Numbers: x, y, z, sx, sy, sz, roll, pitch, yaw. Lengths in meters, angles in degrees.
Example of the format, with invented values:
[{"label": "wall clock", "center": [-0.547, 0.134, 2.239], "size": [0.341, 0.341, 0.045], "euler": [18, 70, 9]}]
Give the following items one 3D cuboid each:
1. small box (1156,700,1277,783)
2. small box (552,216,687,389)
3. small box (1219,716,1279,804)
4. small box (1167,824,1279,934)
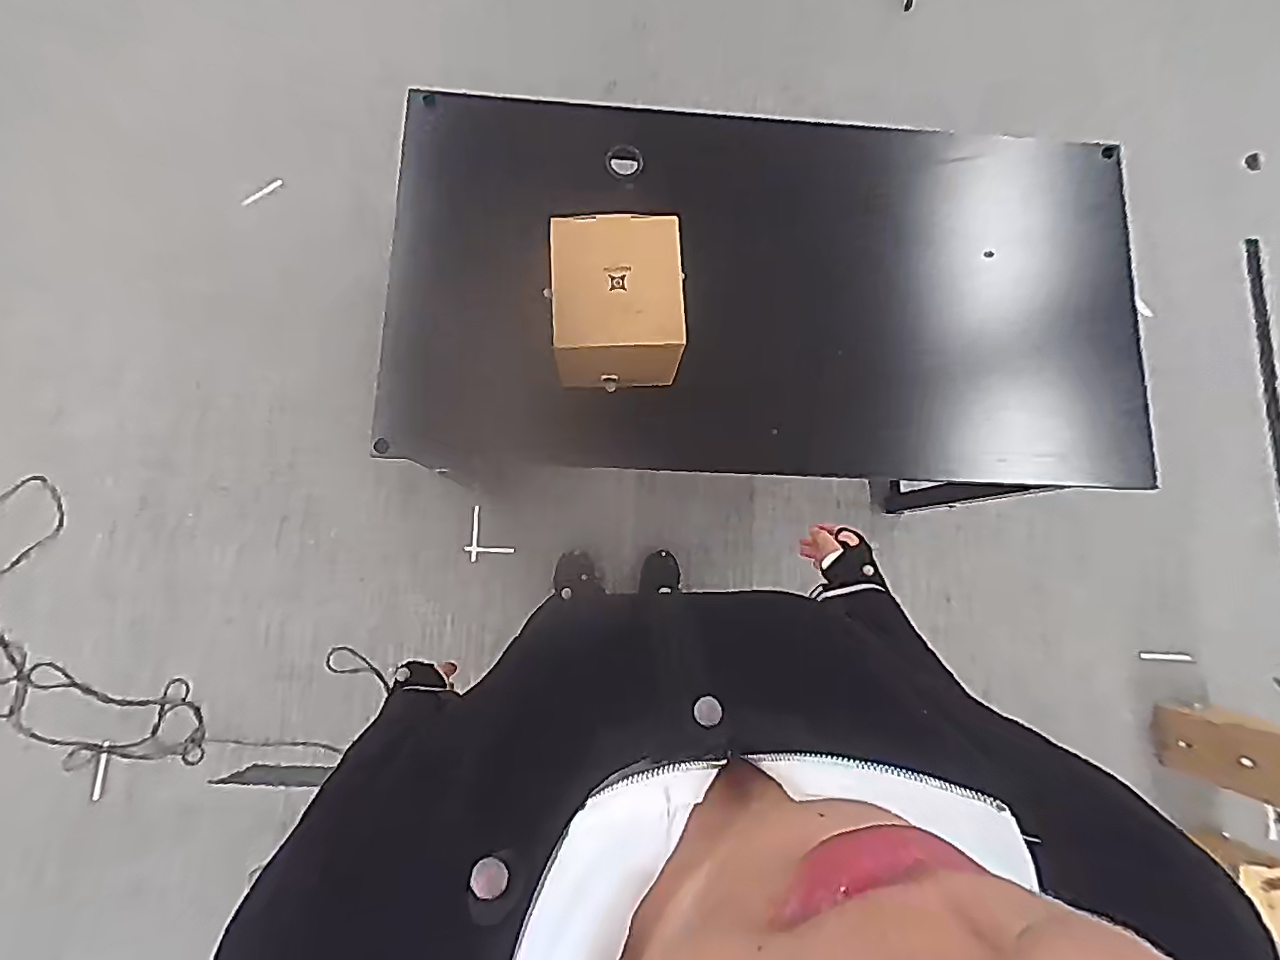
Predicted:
[{"label": "small box", "center": [1.544, 0.699, 1.454], "size": [0.179, 0.176, 0.168], "euler": [2, 82, -2]}, {"label": "small box", "center": [-0.031, -0.239, 0.757], "size": [0.168, 0.176, 0.179], "euler": [-3, 83, -3]}, {"label": "small box", "center": [1.556, 0.678, 1.290], "size": [0.179, 0.176, 0.168], "euler": [7, 81, -2]}, {"label": "small box", "center": [1.532, 1.031, 1.409], "size": [0.168, 0.176, 0.179], "euler": [6, 83, -2]}]
